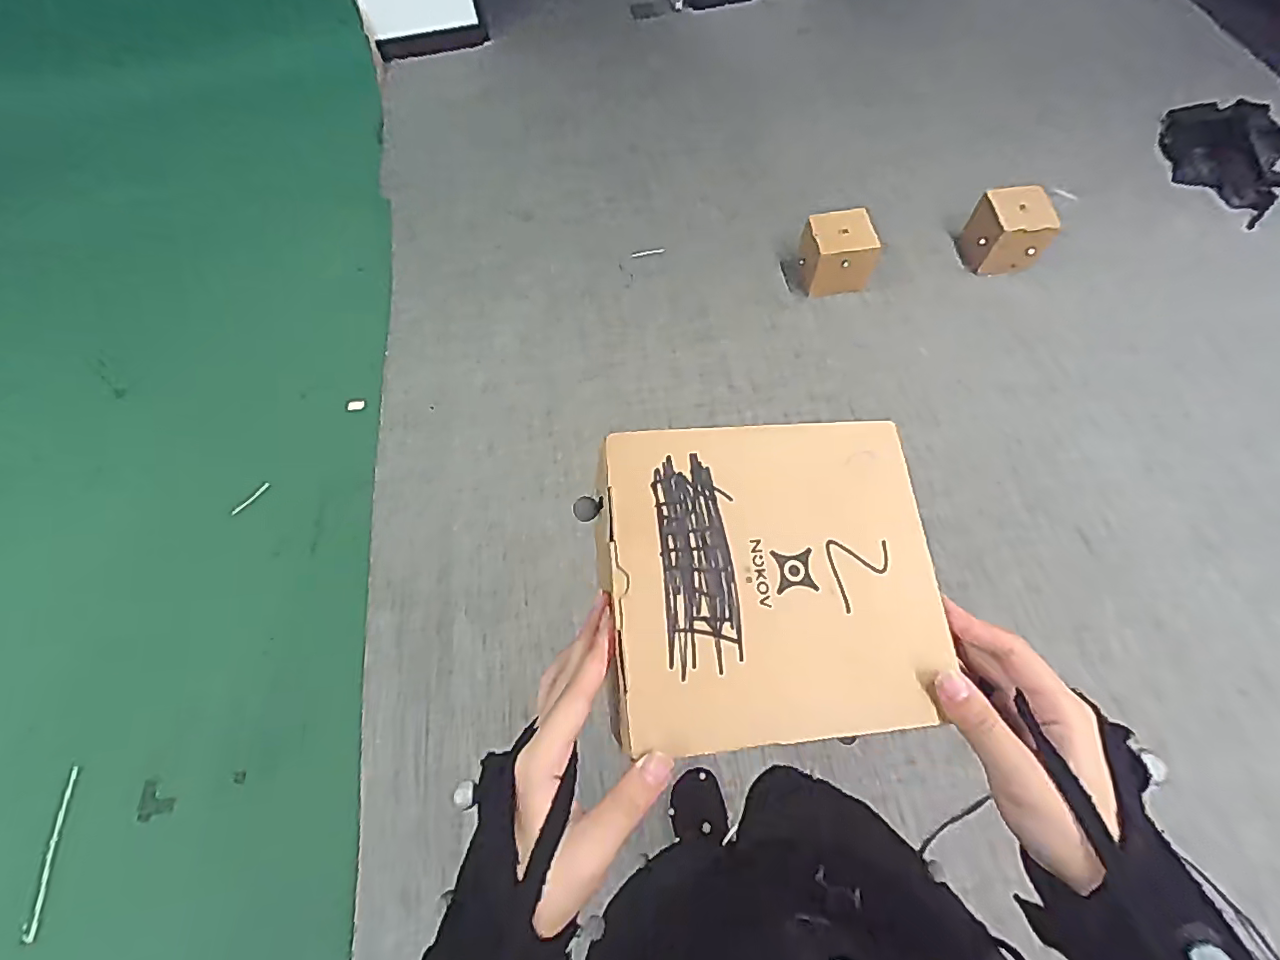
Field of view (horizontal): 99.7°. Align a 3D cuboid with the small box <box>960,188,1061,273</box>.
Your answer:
[{"bbox_3d":[1.117,-0.750,1.644,0.168,0.176,0.179,-4,64,0],"label":"small box"}]

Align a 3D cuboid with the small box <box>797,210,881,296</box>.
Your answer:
[{"bbox_3d":[0.597,-0.685,1.643,0.179,0.176,0.168,-8,65,0],"label":"small box"}]
